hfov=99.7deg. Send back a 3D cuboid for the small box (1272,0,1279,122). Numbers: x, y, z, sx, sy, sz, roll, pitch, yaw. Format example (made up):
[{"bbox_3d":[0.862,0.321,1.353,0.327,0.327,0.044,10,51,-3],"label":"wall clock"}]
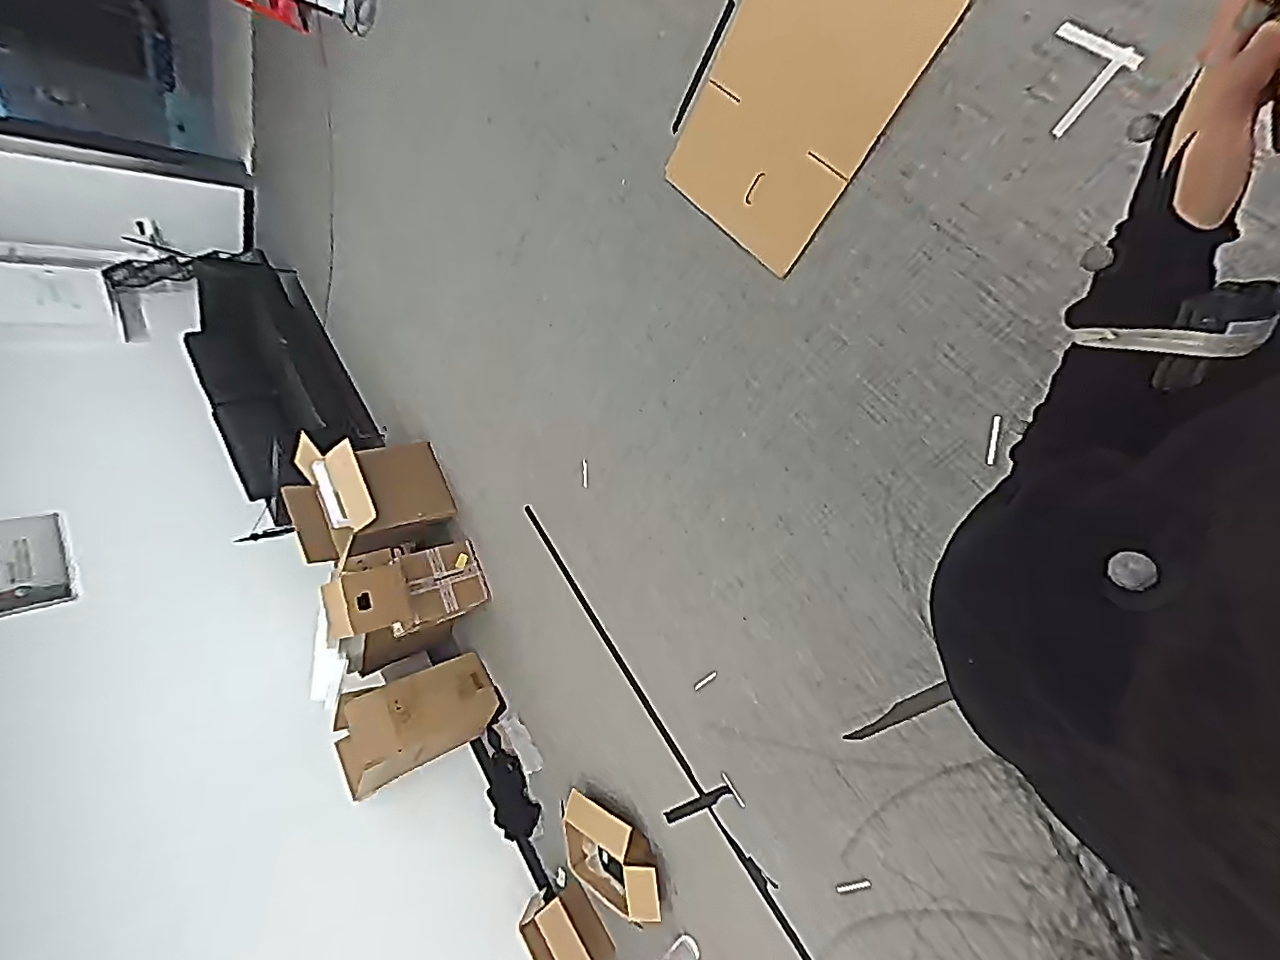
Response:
[{"bbox_3d":[0.359,-0.260,0.190,0.179,0.176,0.168,0,98,48],"label":"small box"}]
